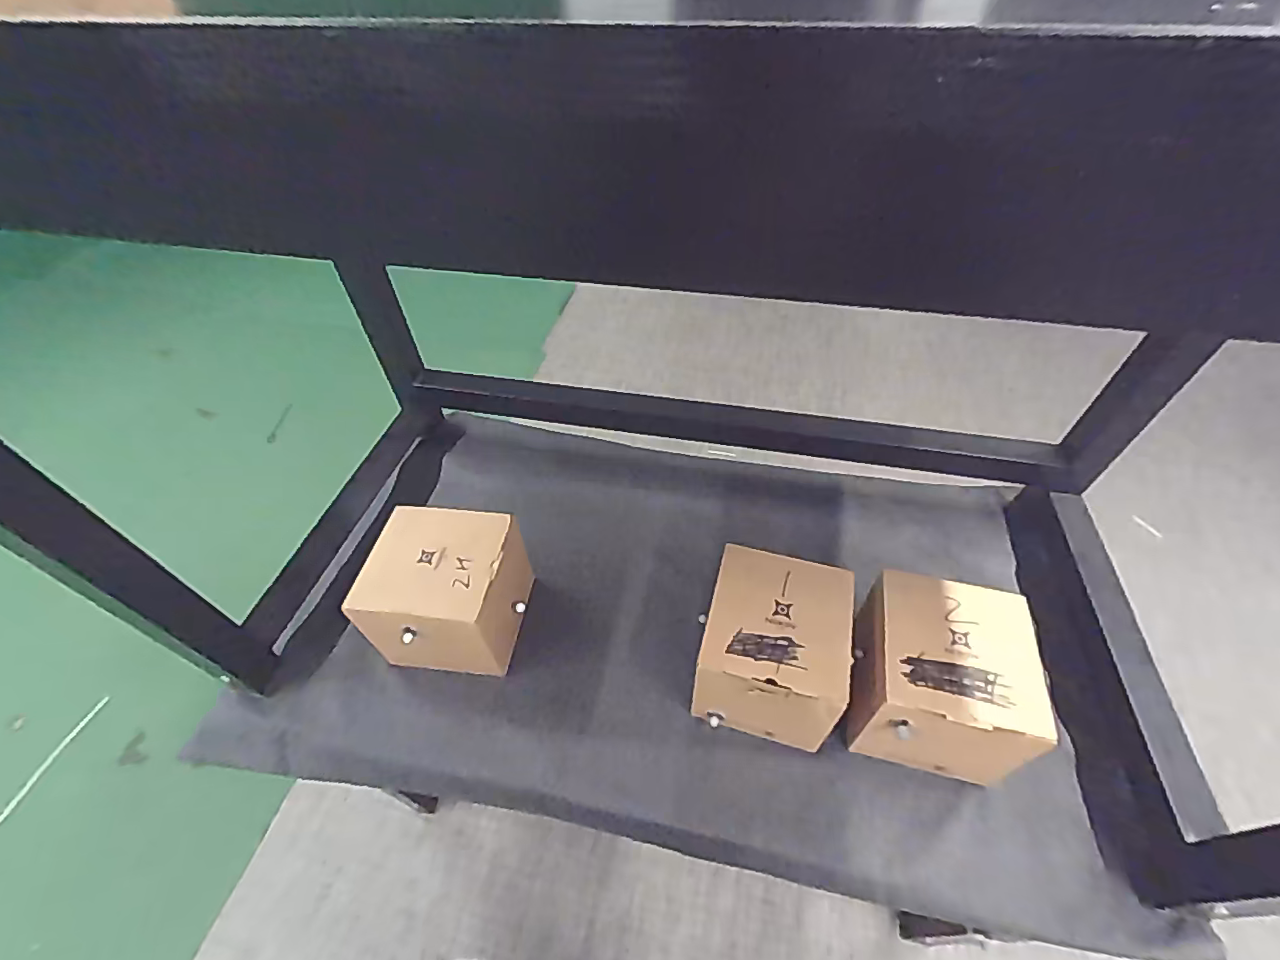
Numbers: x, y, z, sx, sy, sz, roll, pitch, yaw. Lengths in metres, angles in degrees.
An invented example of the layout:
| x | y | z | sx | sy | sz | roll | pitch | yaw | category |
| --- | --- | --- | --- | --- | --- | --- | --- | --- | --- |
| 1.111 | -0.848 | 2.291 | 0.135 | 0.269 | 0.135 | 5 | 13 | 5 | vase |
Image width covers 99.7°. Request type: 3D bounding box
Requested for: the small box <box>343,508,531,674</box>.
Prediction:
| x | y | z | sx | sy | sz | roll | pitch | yaw | category |
| --- | --- | --- | --- | --- | --- | --- | --- | --- | --- |
| -0.270 | 0.160 | 0.770 | 0.179 | 0.176 | 0.168 | 5 | 49 | 6 | small box |
